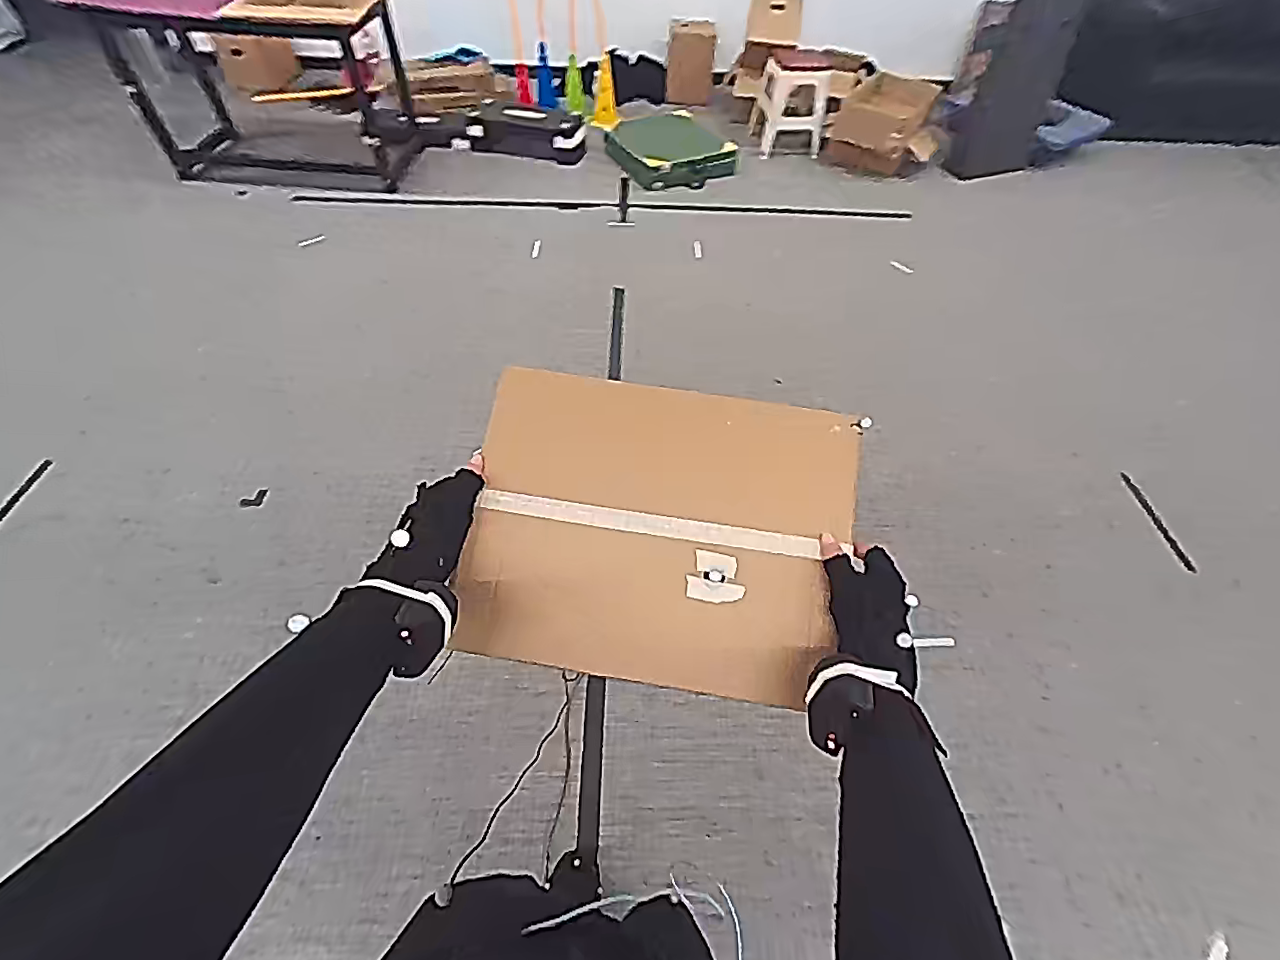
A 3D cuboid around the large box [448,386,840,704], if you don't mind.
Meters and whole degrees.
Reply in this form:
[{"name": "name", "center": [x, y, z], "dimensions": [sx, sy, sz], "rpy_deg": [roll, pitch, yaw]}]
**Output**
[{"name": "large box", "center": [0.013, 0.098, 0.733], "dimensions": [0.408, 0.320, 0.320], "rpy_deg": [8, 75, 2]}]
